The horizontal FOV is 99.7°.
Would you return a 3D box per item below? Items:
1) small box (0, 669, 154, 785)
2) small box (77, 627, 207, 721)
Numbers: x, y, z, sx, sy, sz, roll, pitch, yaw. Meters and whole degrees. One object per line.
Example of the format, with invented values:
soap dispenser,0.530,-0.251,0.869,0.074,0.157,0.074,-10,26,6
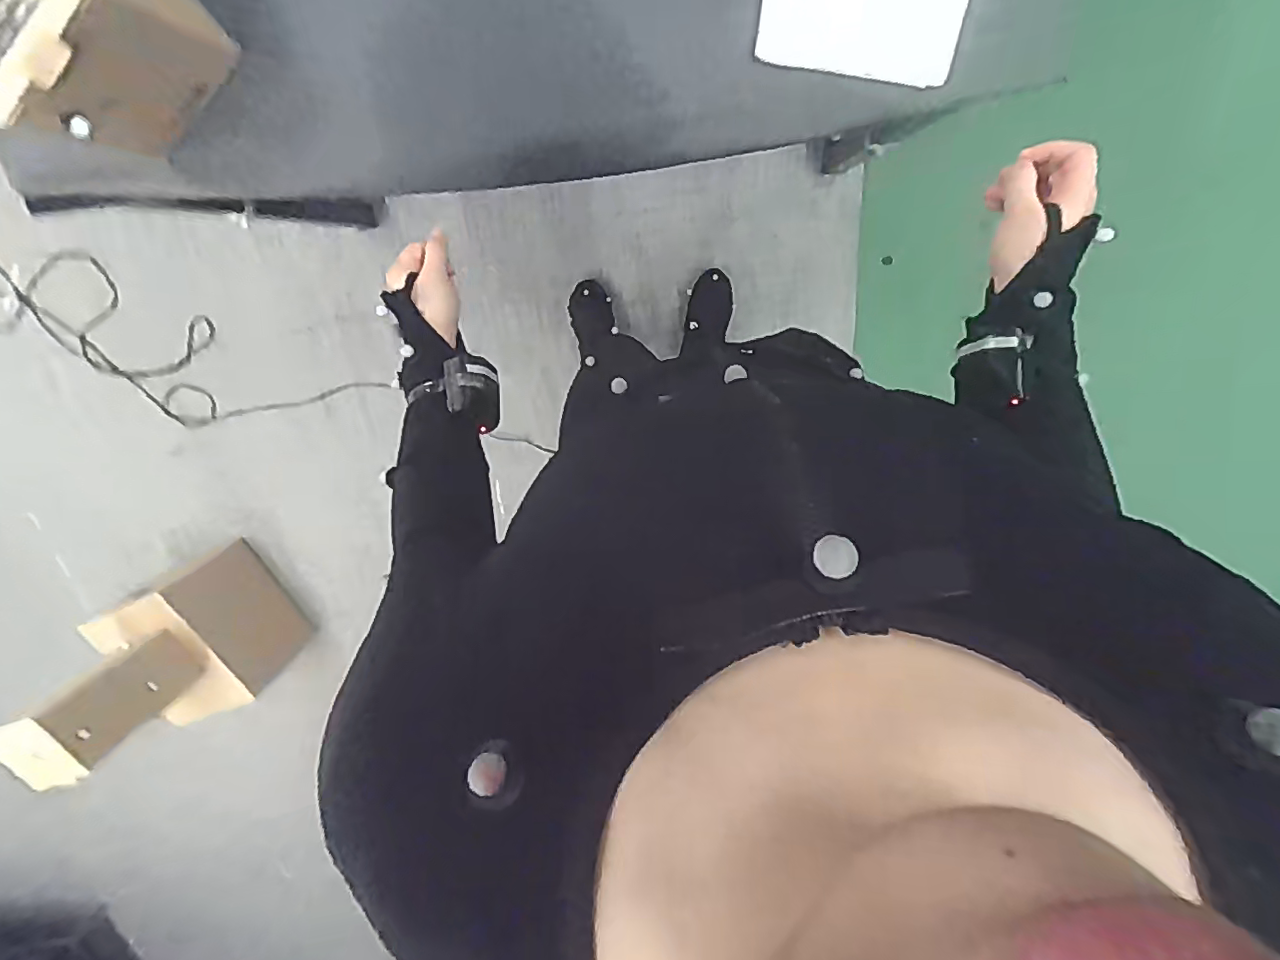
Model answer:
small box,-1.331,0.573,1.278,0.168,0.176,0.179,-21,110,10
small box,-1.317,0.524,1.433,0.168,0.176,0.179,-21,109,11
